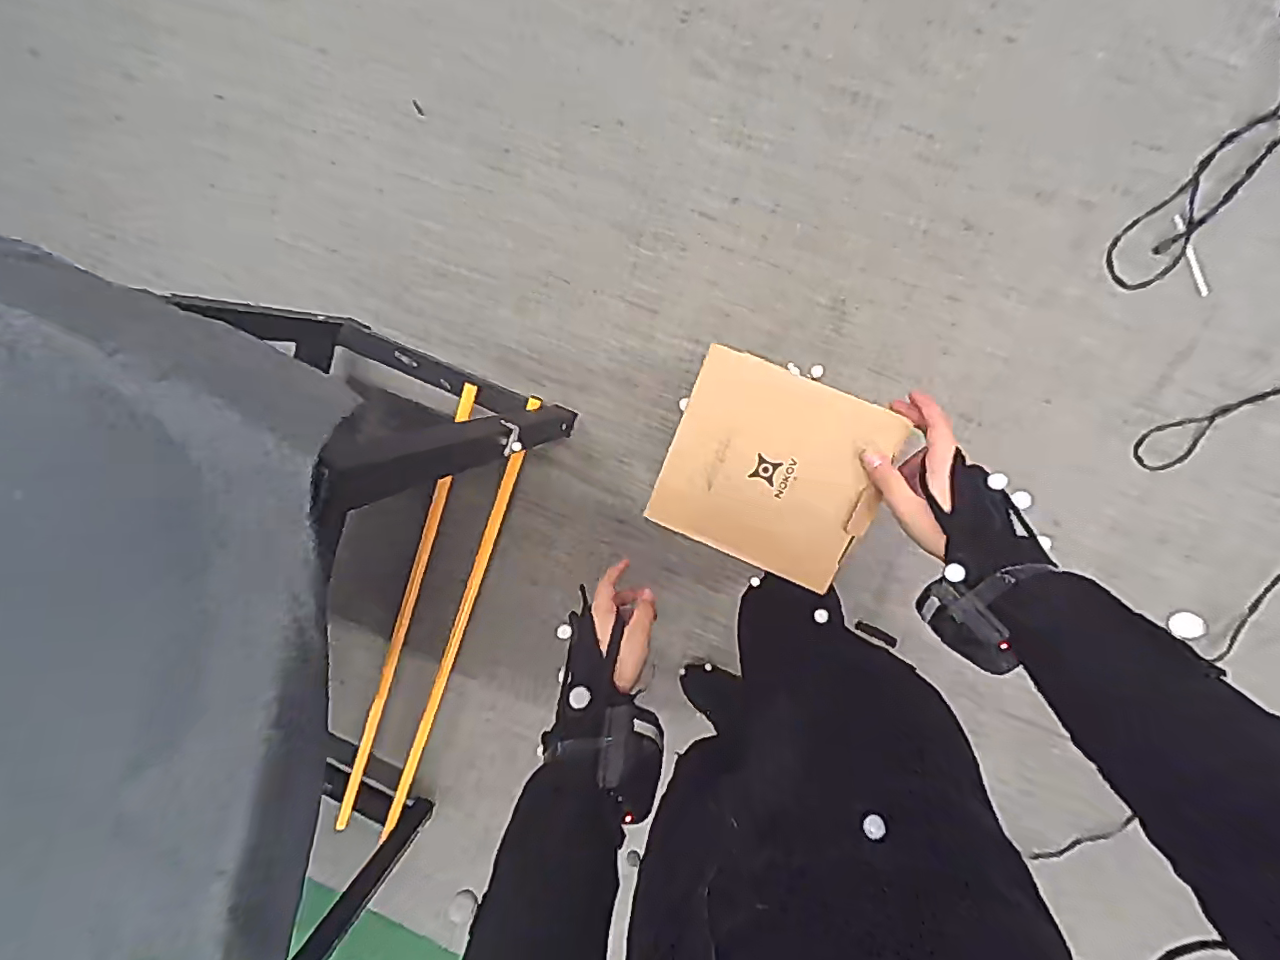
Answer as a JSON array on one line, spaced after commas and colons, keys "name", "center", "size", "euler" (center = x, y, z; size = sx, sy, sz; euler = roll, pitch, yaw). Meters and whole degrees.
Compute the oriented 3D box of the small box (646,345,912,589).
[{"name": "small box", "center": [0.128, -0.024, 0.538], "size": [0.179, 0.176, 0.168], "euler": [23, 104, 7]}]
